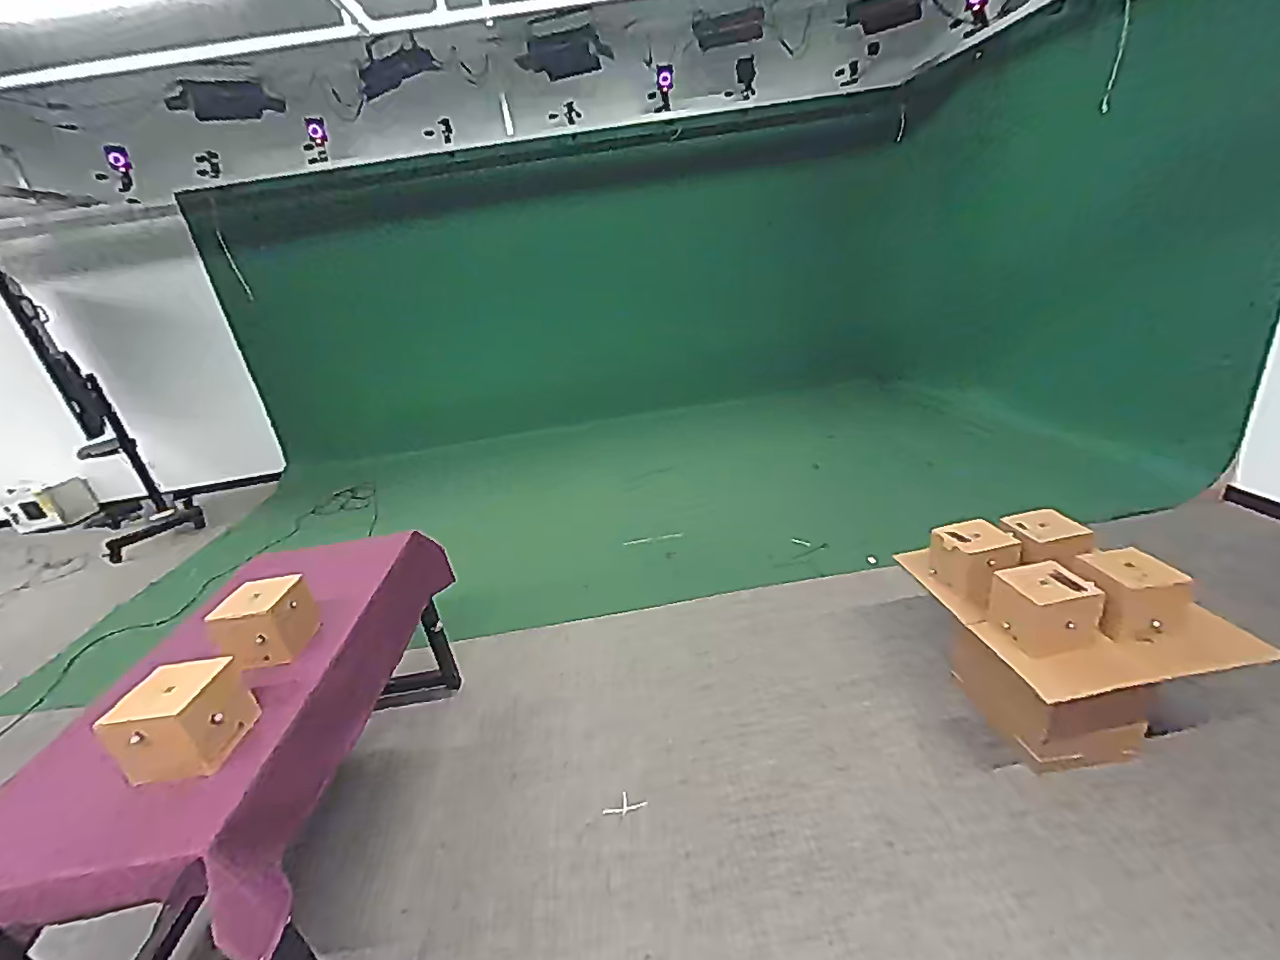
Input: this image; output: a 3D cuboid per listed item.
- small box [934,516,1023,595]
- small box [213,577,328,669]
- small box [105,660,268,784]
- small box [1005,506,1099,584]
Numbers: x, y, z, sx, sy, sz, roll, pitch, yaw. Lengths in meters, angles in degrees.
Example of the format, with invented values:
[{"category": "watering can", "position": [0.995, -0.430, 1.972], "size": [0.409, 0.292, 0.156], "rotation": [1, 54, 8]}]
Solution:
[{"category": "small box", "position": [1.041, 0.235, 1.674], "size": [0.179, 0.176, 0.168], "rotation": [-12, 23, -6]}, {"category": "small box", "position": [-0.989, 0.393, 1.468], "size": [0.168, 0.176, 0.179], "rotation": [-9, 22, 1]}, {"category": "small box", "position": [-0.954, 0.518, 1.160], "size": [0.179, 0.176, 0.168], "rotation": [-10, 23, 3]}, {"category": "small box", "position": [1.253, 0.200, 1.671], "size": [0.179, 0.176, 0.168], "rotation": [-9, 21, -3]}]
